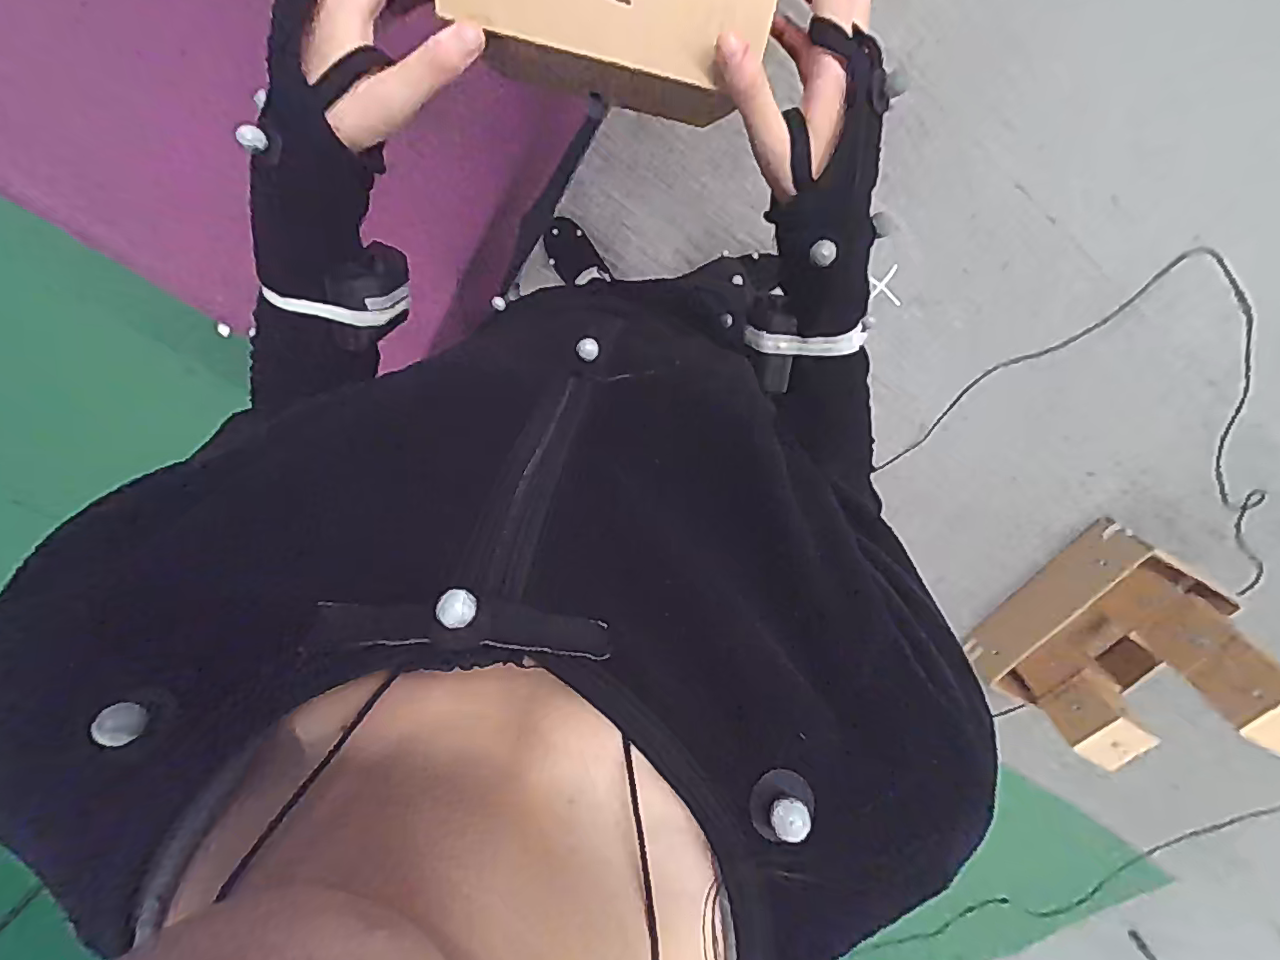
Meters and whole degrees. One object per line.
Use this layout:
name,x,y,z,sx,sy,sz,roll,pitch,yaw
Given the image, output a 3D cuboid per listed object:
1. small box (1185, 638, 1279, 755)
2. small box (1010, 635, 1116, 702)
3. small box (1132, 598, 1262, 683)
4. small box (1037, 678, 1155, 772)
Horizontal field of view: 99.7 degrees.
small box,1.519,0.529,1.333,0.168,0.176,0.179,26,114,-9
small box,1.365,0.641,1.758,0.168,0.176,0.179,30,113,-12
small box,1.527,0.457,1.478,0.168,0.176,0.179,31,115,-11
small box,1.350,0.725,1.617,0.179,0.176,0.168,30,115,-13
